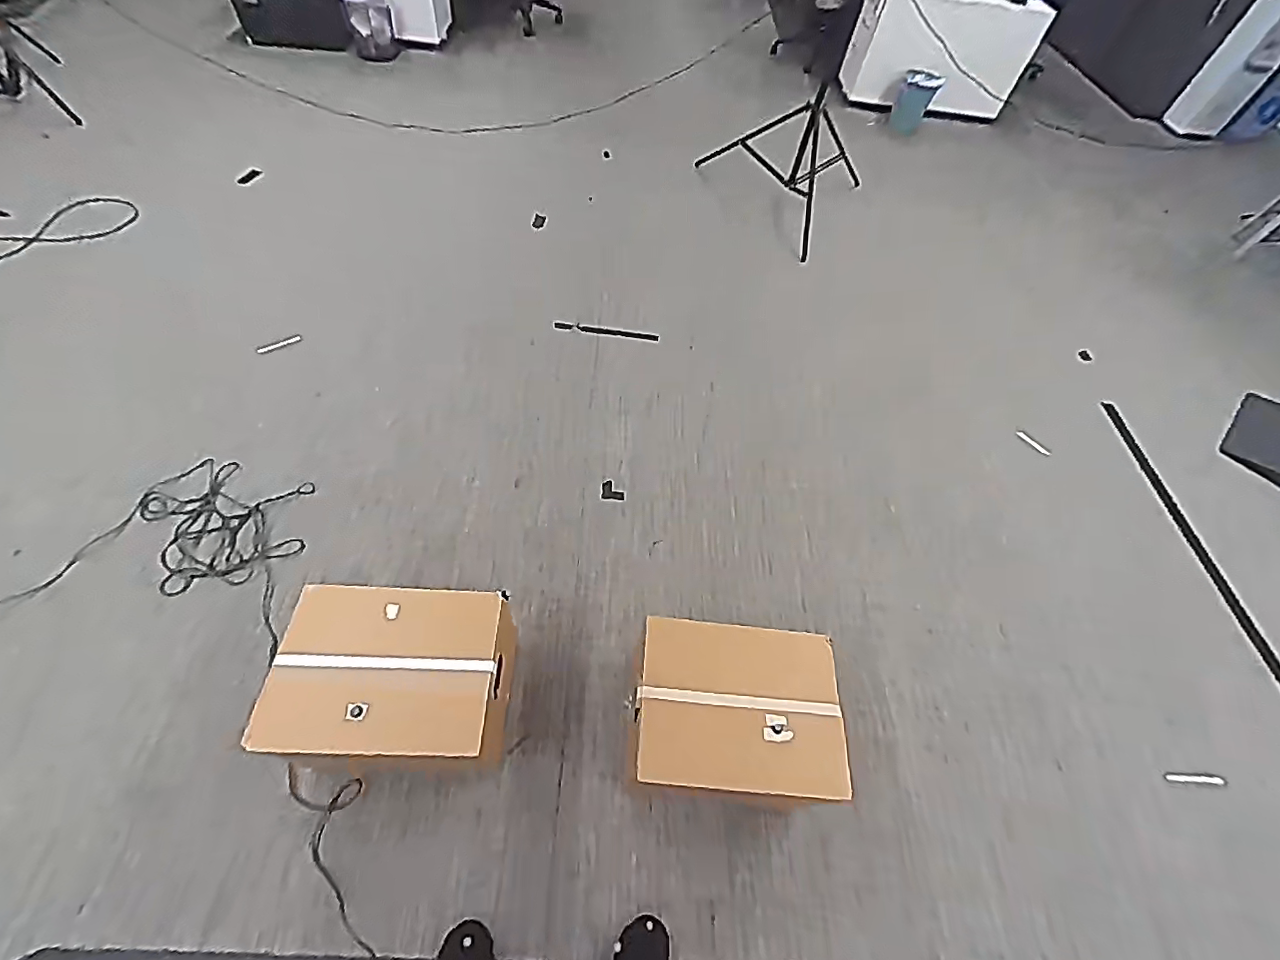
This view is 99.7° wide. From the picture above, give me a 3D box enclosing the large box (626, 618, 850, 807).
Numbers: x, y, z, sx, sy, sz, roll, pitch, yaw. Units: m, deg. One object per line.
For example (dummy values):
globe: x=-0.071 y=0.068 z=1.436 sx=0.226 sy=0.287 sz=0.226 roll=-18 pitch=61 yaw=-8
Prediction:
large box: x=0.189 y=0.526 z=1.203 sx=0.408 sy=0.320 sz=0.320 roll=7 pitch=55 yaw=-3
